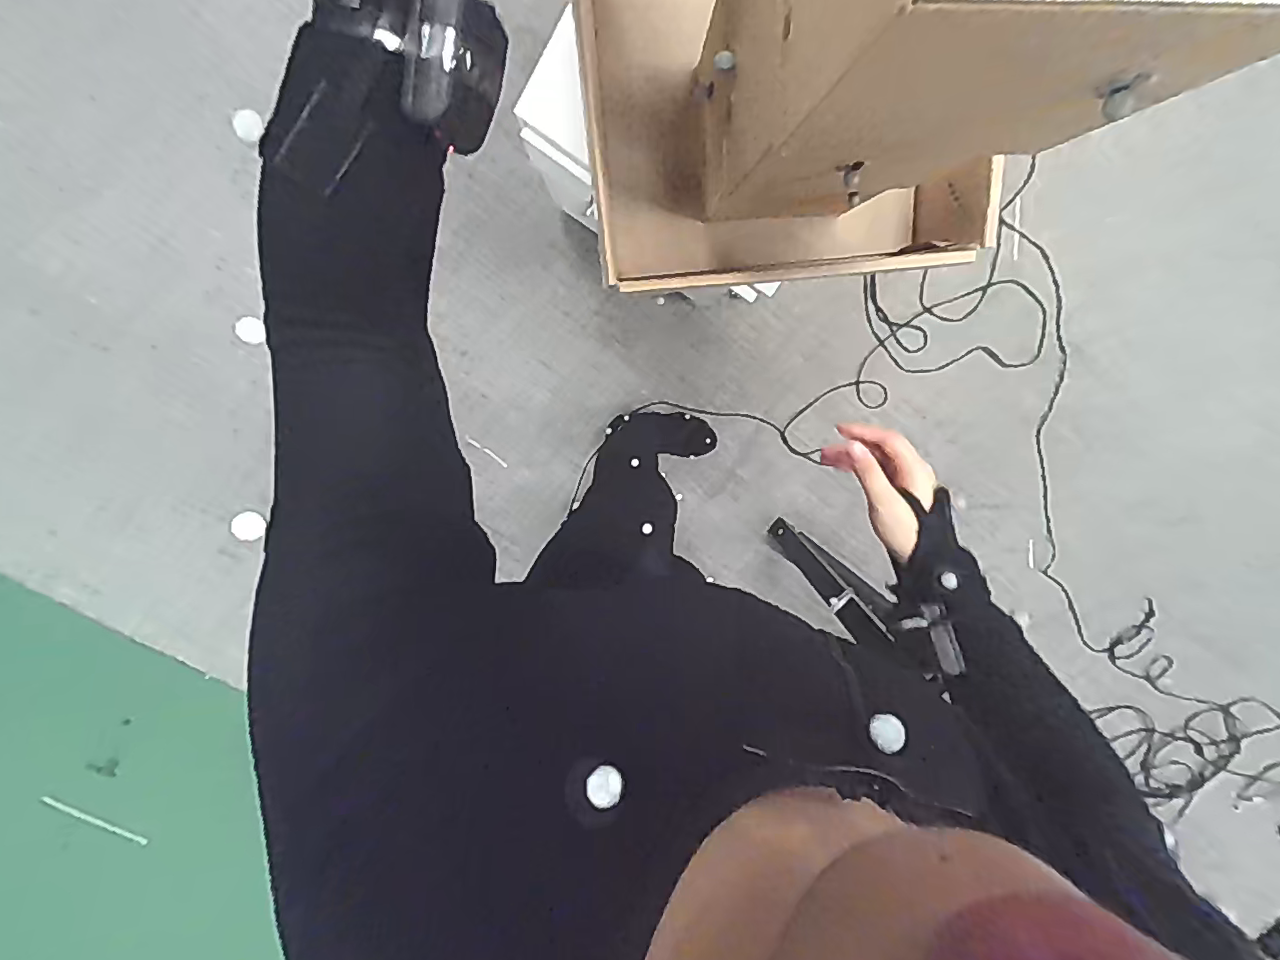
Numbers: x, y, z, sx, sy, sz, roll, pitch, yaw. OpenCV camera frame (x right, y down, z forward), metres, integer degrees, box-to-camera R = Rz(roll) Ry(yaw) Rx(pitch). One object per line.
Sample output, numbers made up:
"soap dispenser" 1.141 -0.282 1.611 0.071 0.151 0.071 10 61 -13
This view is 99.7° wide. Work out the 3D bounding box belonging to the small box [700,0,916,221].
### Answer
"small box" 0.157 -0.378 0.563 0.179 0.176 0.168 -4 105 -1
